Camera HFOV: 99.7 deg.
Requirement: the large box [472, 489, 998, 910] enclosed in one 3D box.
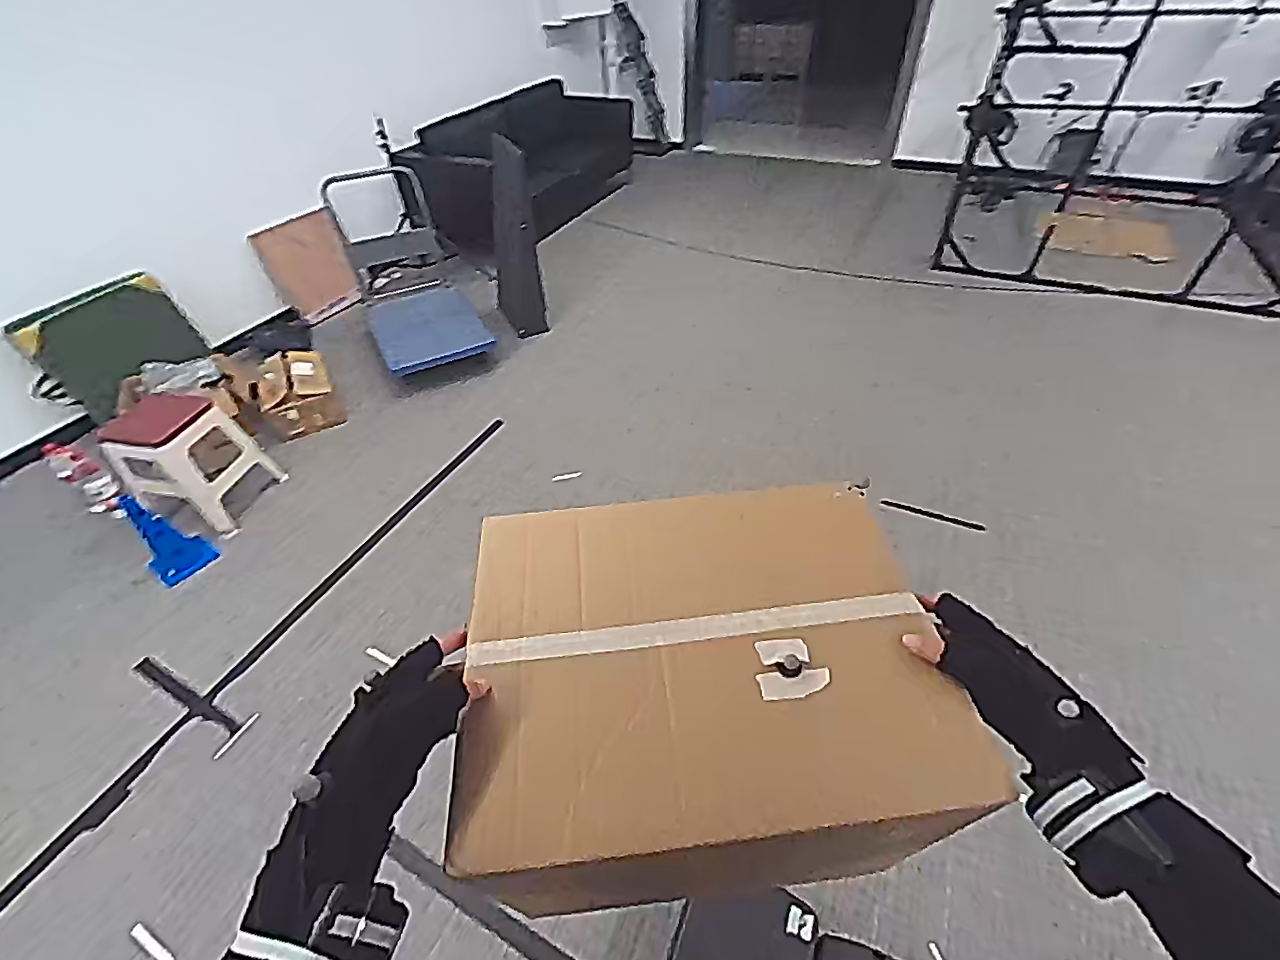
[{"bbox_3d":[0.061,0.241,0.601,0.408,0.320,0.320,-5,47,-3],"label":"large box"}]
